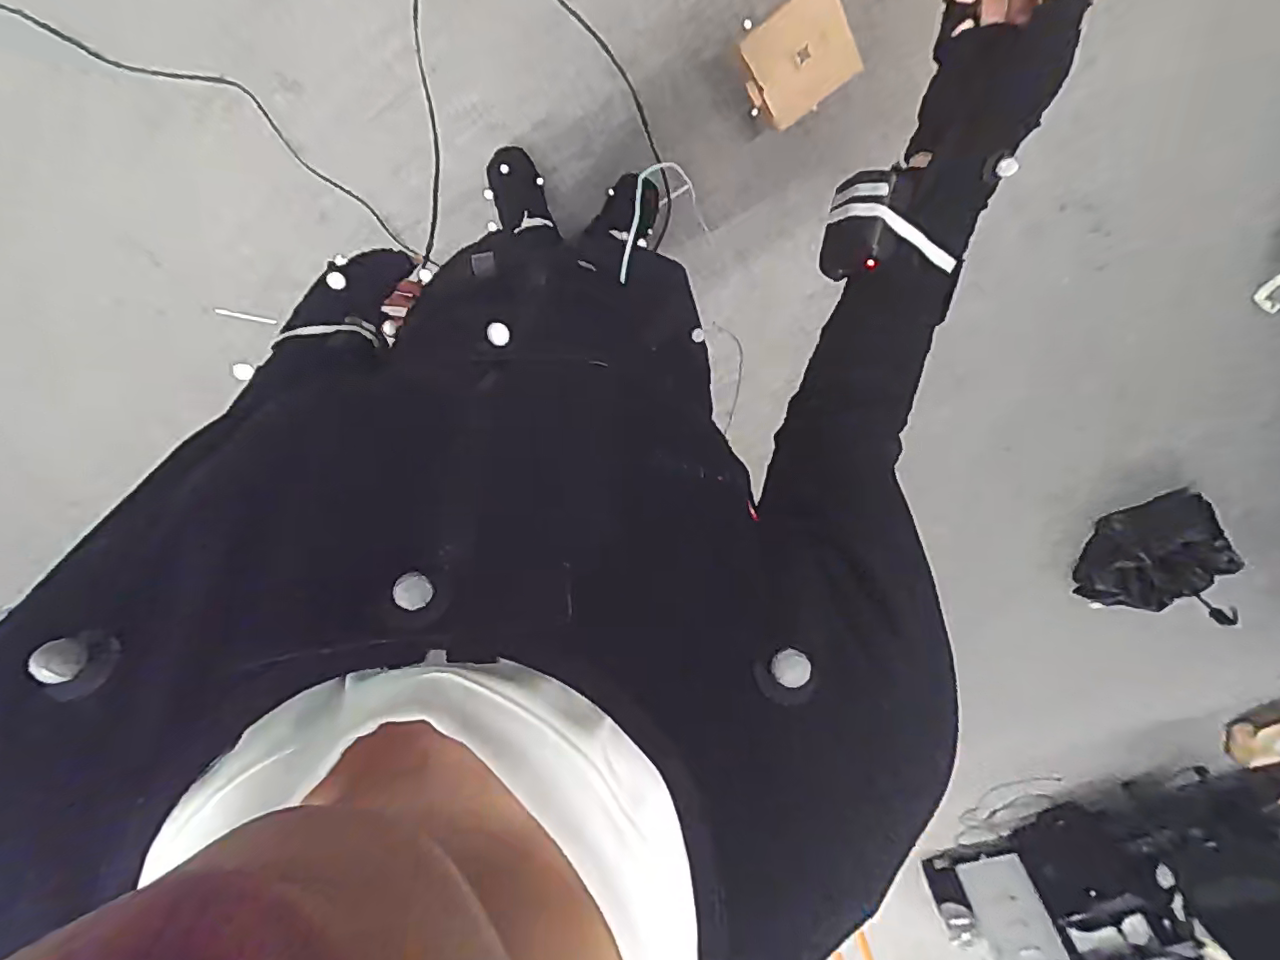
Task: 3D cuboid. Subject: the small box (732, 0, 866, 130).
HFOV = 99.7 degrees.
[{"bbox_3d":[0.287,-0.799,1.018,0.179,0.176,0.168,-31,123,18],"label":"small box"}]
